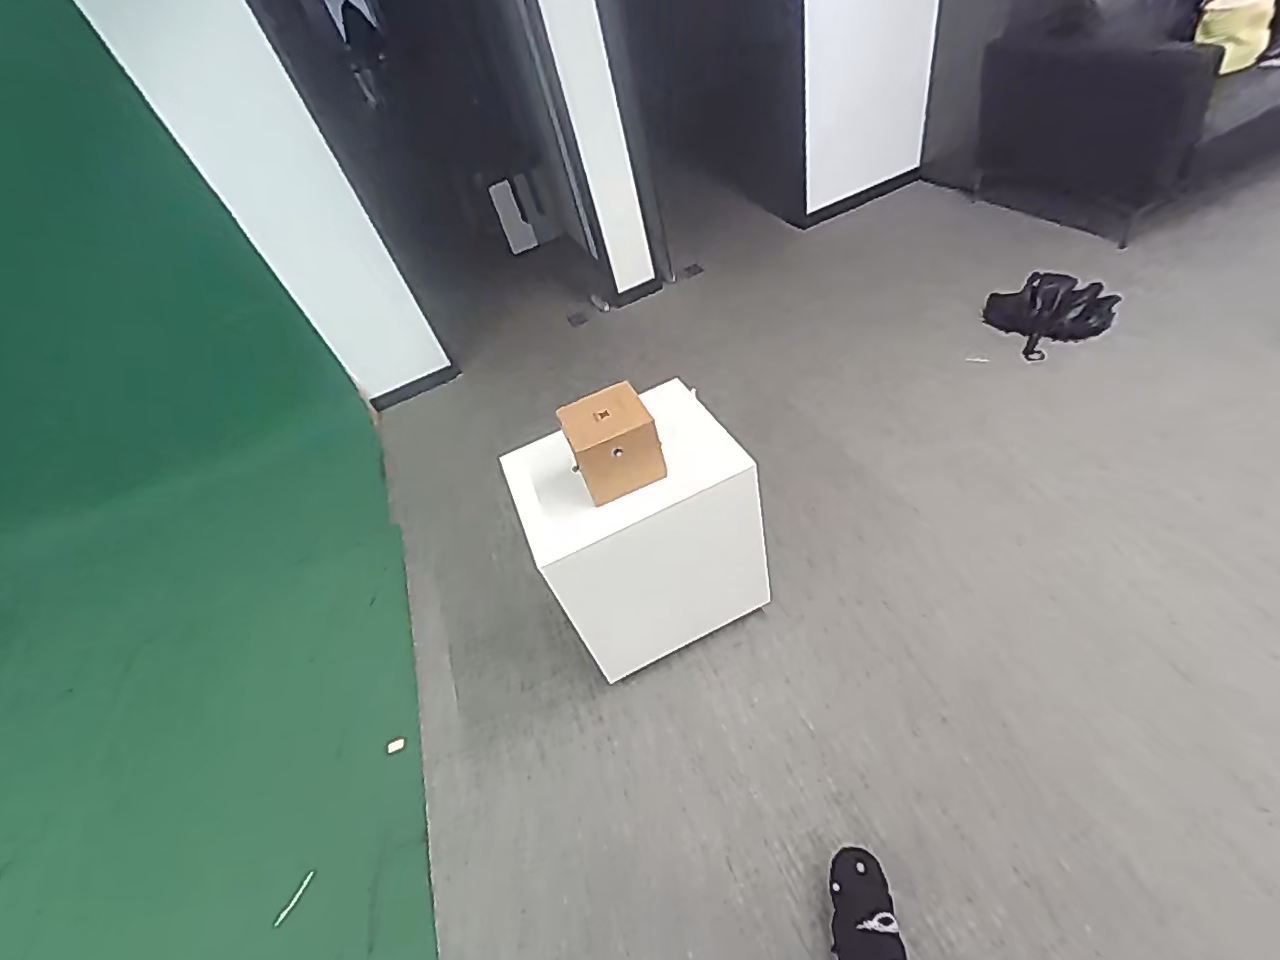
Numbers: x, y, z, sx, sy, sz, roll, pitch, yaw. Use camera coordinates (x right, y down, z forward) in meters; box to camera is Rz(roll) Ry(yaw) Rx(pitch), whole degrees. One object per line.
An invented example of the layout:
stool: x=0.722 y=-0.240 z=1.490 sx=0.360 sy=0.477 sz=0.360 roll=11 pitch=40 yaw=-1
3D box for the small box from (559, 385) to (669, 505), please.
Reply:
small box: x=-0.055 y=-0.073 z=1.188 sx=0.179 sy=0.176 sz=0.168 roll=-24 pitch=45 yaw=-7
